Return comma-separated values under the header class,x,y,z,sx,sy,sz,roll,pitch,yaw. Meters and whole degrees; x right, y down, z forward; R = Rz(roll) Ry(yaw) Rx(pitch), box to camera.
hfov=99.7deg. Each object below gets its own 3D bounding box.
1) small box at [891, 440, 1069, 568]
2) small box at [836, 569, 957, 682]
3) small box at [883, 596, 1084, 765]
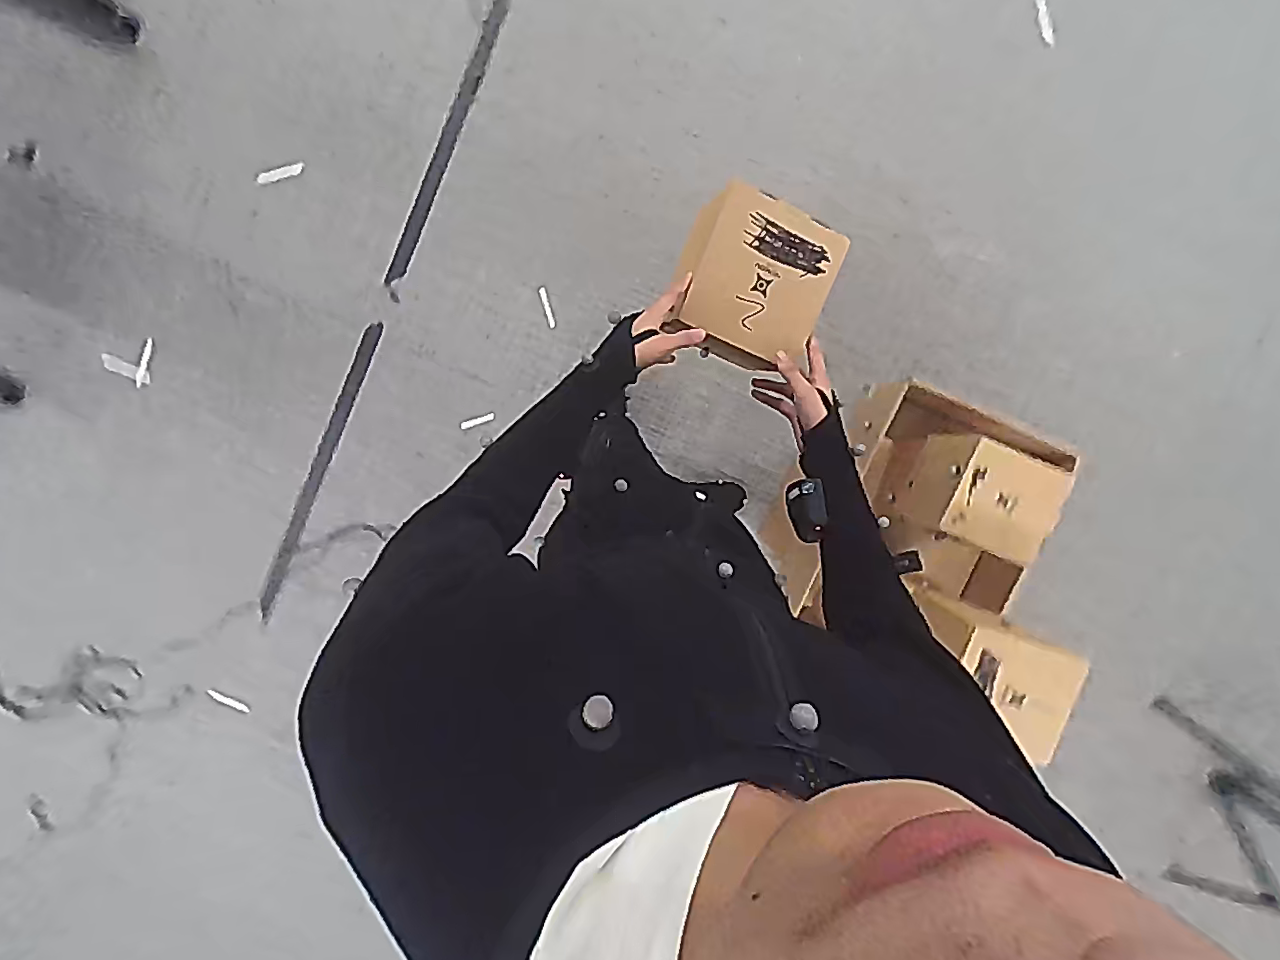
class,x,y,z,sx,sy,sz,roll,pitch,yaw
small box,0.598,0.033,0.973,0.179,0.176,0.168,24,94,-3
small box,0.496,0.280,0.996,0.179,0.176,0.168,21,95,-1
small box,0.510,0.293,0.833,0.179,0.176,0.168,18,95,-2
